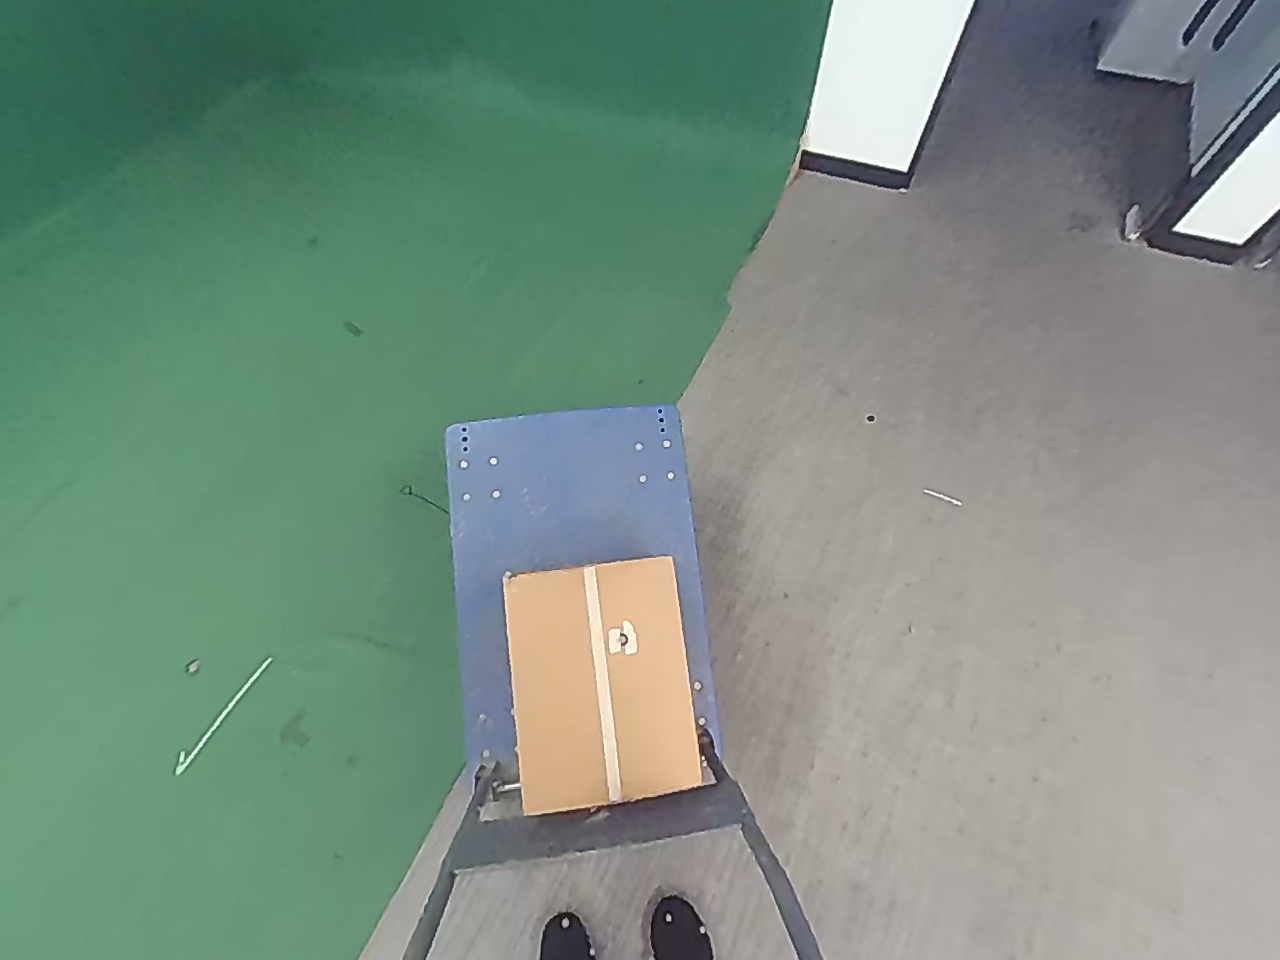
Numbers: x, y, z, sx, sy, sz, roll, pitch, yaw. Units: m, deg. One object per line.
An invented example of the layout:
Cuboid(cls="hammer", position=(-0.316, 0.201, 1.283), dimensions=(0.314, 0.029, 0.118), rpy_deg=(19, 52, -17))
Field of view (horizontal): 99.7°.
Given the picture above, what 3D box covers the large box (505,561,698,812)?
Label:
Cuboid(cls="large box", position=(-0.081, 0.391, 1.123), dimensions=(0.320, 0.320, 0.408), rpy_deg=(-6, 81, -6))
